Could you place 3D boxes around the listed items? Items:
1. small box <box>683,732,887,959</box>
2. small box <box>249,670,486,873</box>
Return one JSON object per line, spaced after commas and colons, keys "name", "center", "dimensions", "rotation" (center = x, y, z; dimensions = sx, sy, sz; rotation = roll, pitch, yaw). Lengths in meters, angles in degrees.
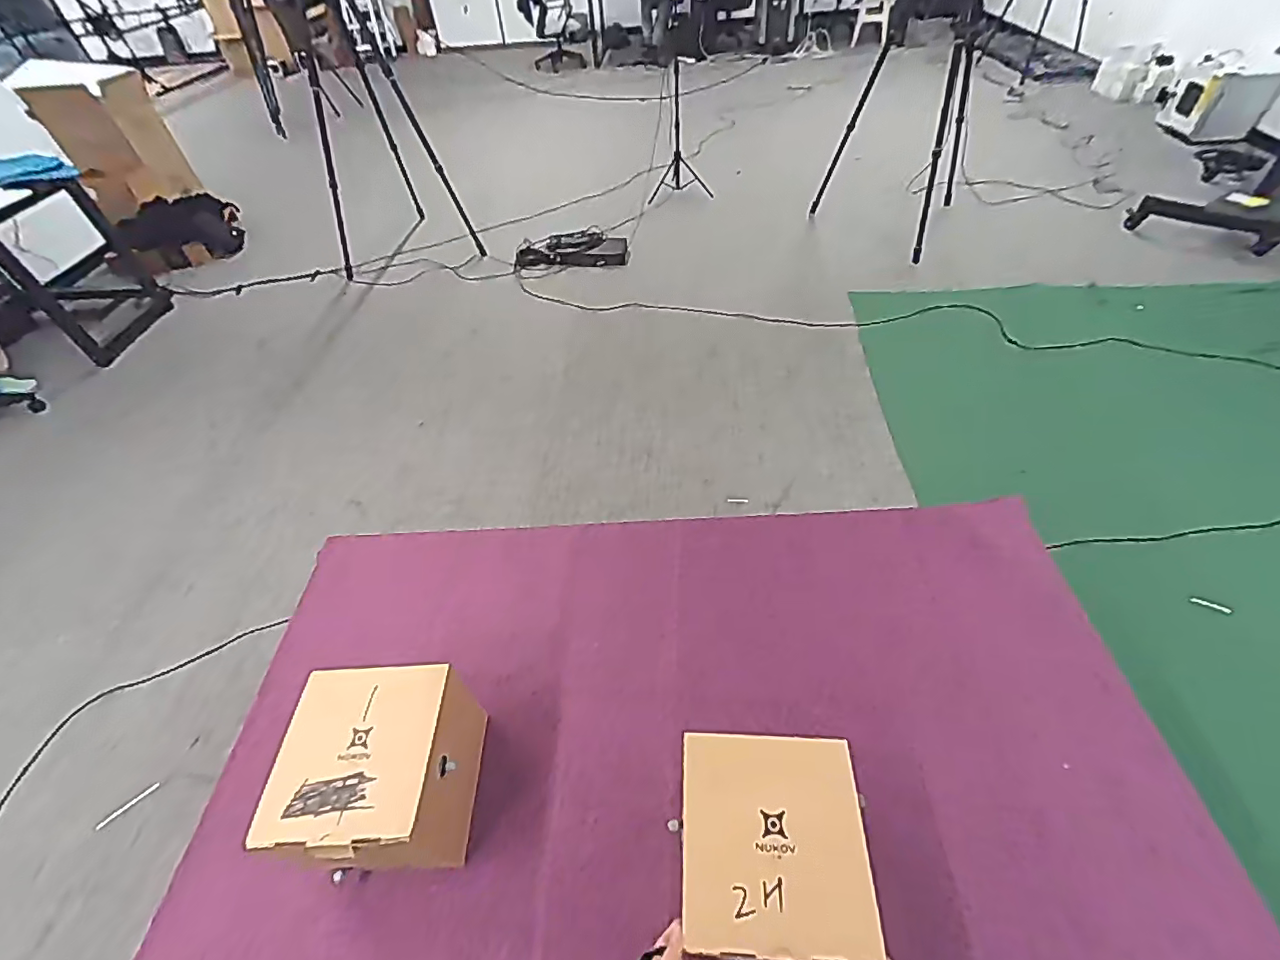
{"name": "small box", "center": [0.129, 0.380, 0.553], "dimensions": [0.168, 0.176, 0.179], "rotation": [0, 48, 6]}
{"name": "small box", "center": [-0.292, 0.343, 0.630], "dimensions": [0.168, 0.176, 0.179], "rotation": [-4, 47, 2]}
